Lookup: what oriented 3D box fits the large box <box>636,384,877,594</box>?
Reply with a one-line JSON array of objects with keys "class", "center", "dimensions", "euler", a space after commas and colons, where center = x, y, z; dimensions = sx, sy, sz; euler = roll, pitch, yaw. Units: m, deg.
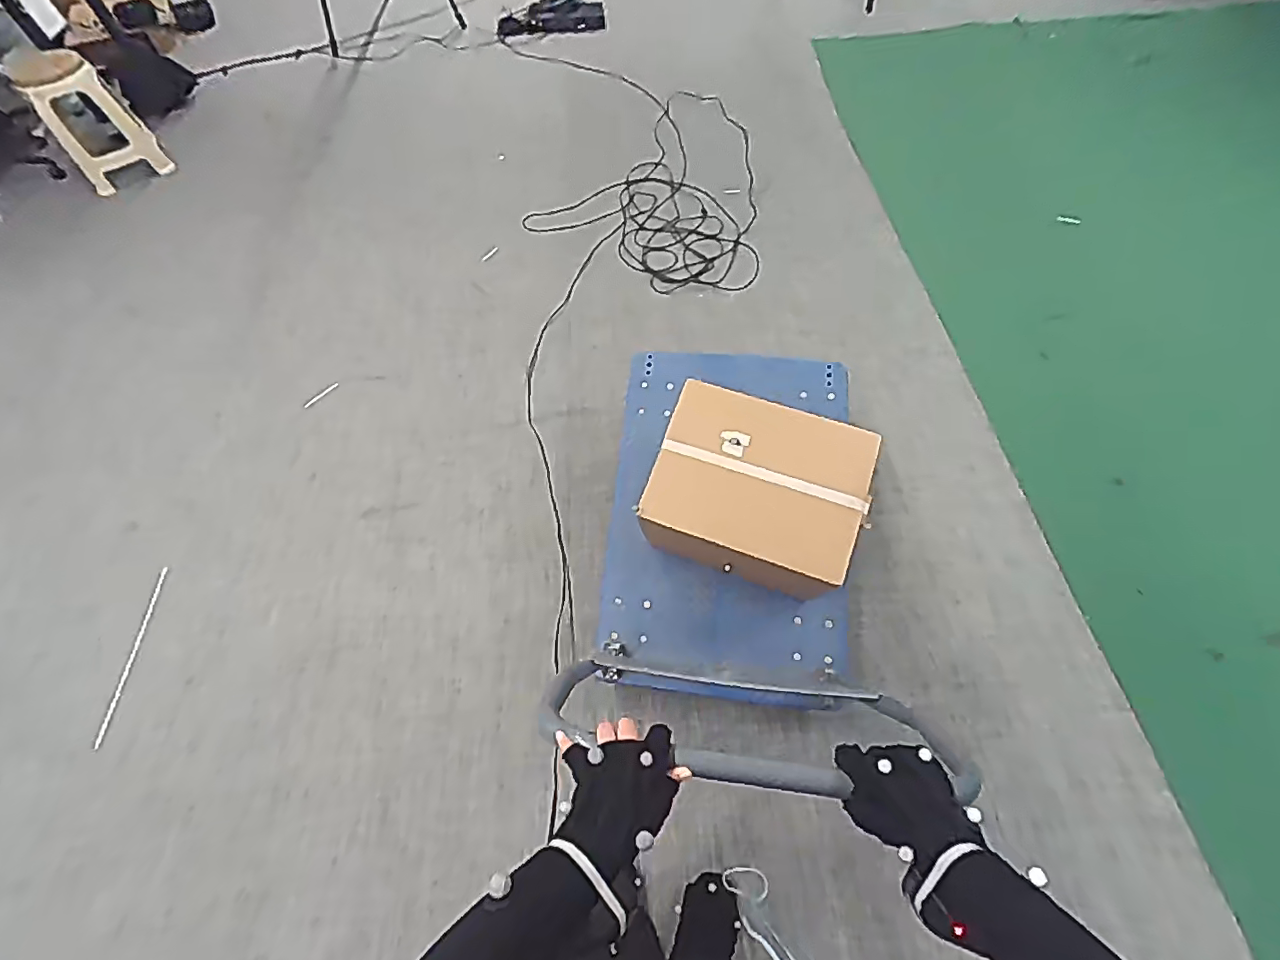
[{"class": "large box", "center": [0.245, 0.036, 1.194], "dimensions": [0.408, 0.320, 0.320], "euler": [19, 76, 11]}]
